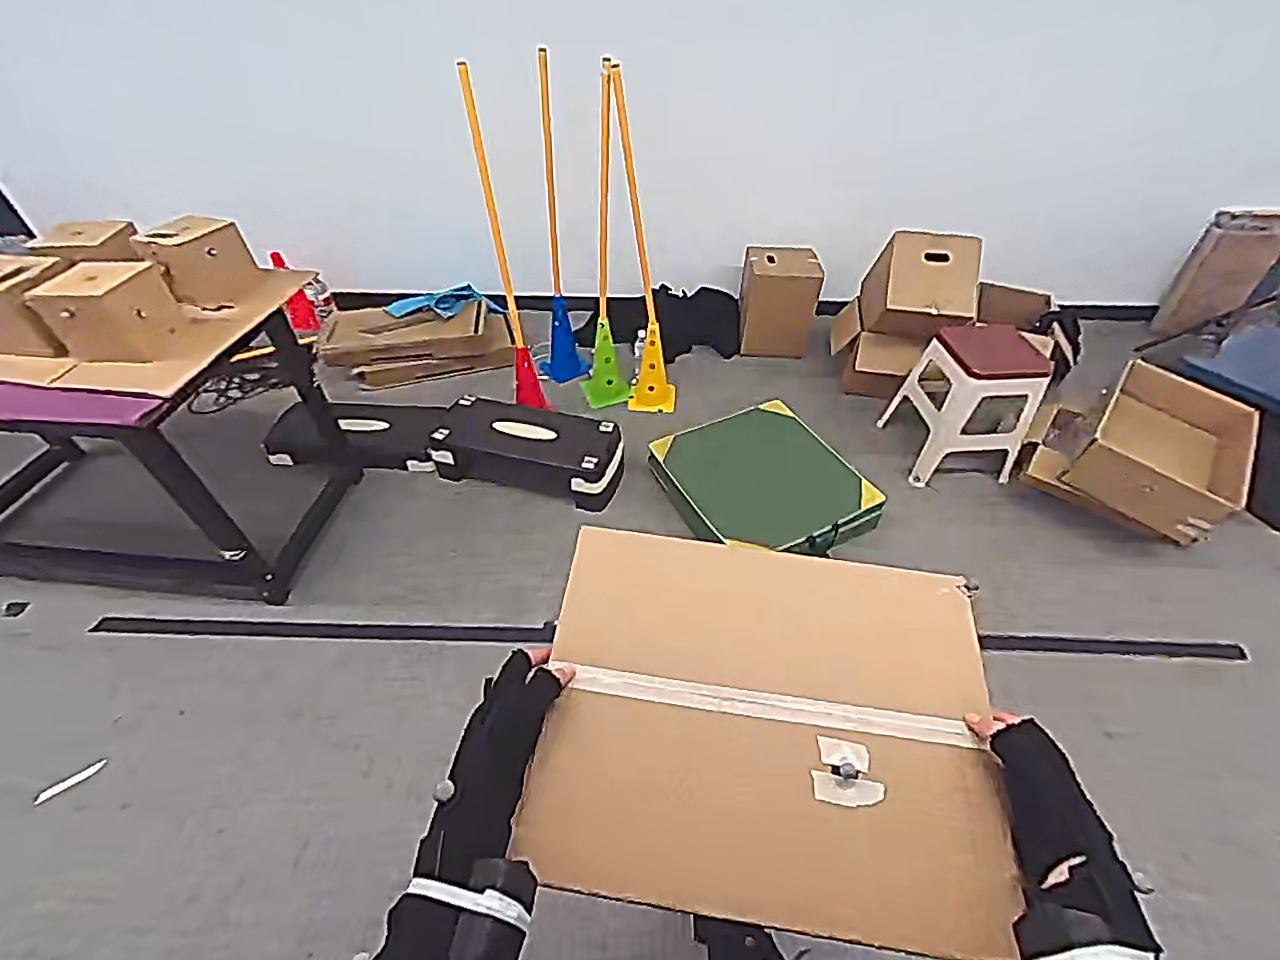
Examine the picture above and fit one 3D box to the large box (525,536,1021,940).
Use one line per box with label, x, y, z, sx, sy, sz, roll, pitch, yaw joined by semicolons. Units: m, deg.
large box;0.114;0.290;0.632;0.408;0.320;0.320;7;58;3
